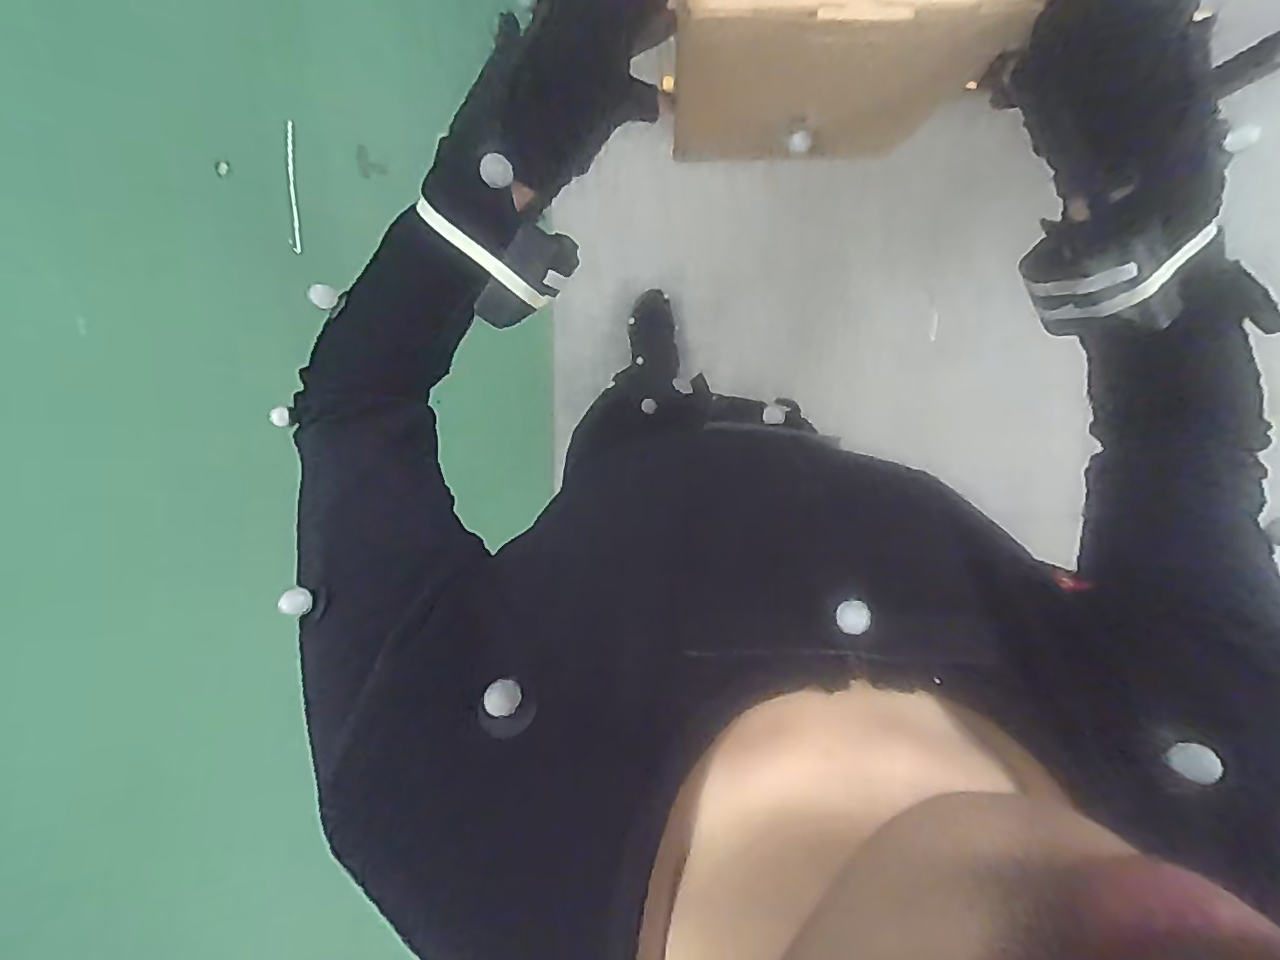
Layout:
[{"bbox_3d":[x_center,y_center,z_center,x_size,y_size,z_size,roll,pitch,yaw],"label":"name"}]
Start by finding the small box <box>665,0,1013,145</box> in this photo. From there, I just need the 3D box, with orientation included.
[{"bbox_3d":[0.099,-0.322,0.304,0.168,0.176,0.179,0,99,2],"label":"small box"}]
